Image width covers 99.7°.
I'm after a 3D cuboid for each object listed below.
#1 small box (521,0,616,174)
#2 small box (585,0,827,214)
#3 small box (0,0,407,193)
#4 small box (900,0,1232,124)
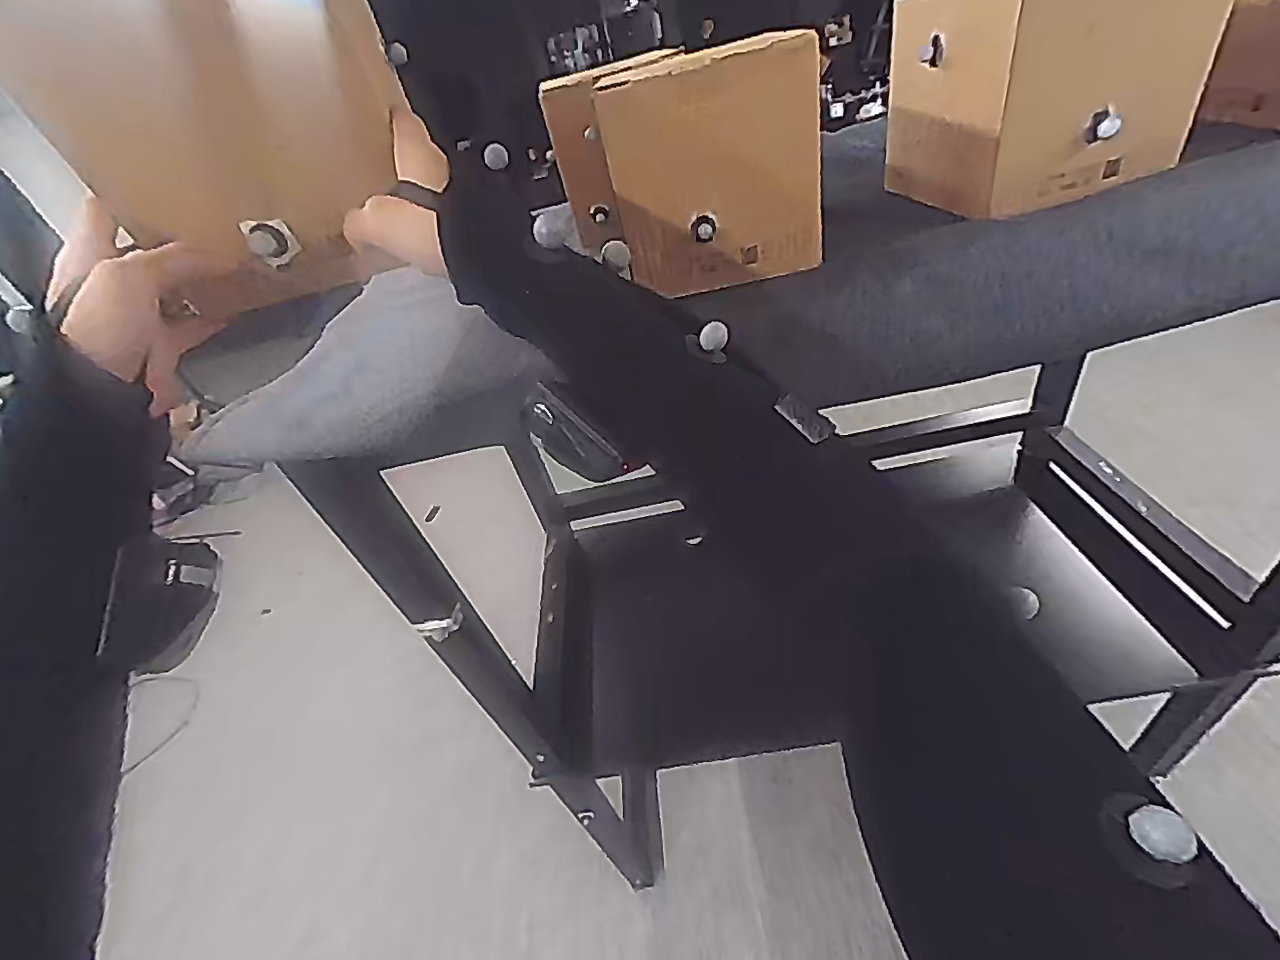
[{"bbox_3d":[-0.033,-0.487,0.650,0.168,0.176,0.179,-14,39,2],"label":"small box"},{"bbox_3d":[0.053,-0.344,0.458,0.168,0.176,0.179,-9,39,8],"label":"small box"},{"bbox_3d":[-0.251,-0.296,0.311,0.168,0.176,0.179,-19,51,-5],"label":"small box"},{"bbox_3d":[0.333,-0.407,0.435,0.168,0.176,0.179,-16,39,1],"label":"small box"}]
